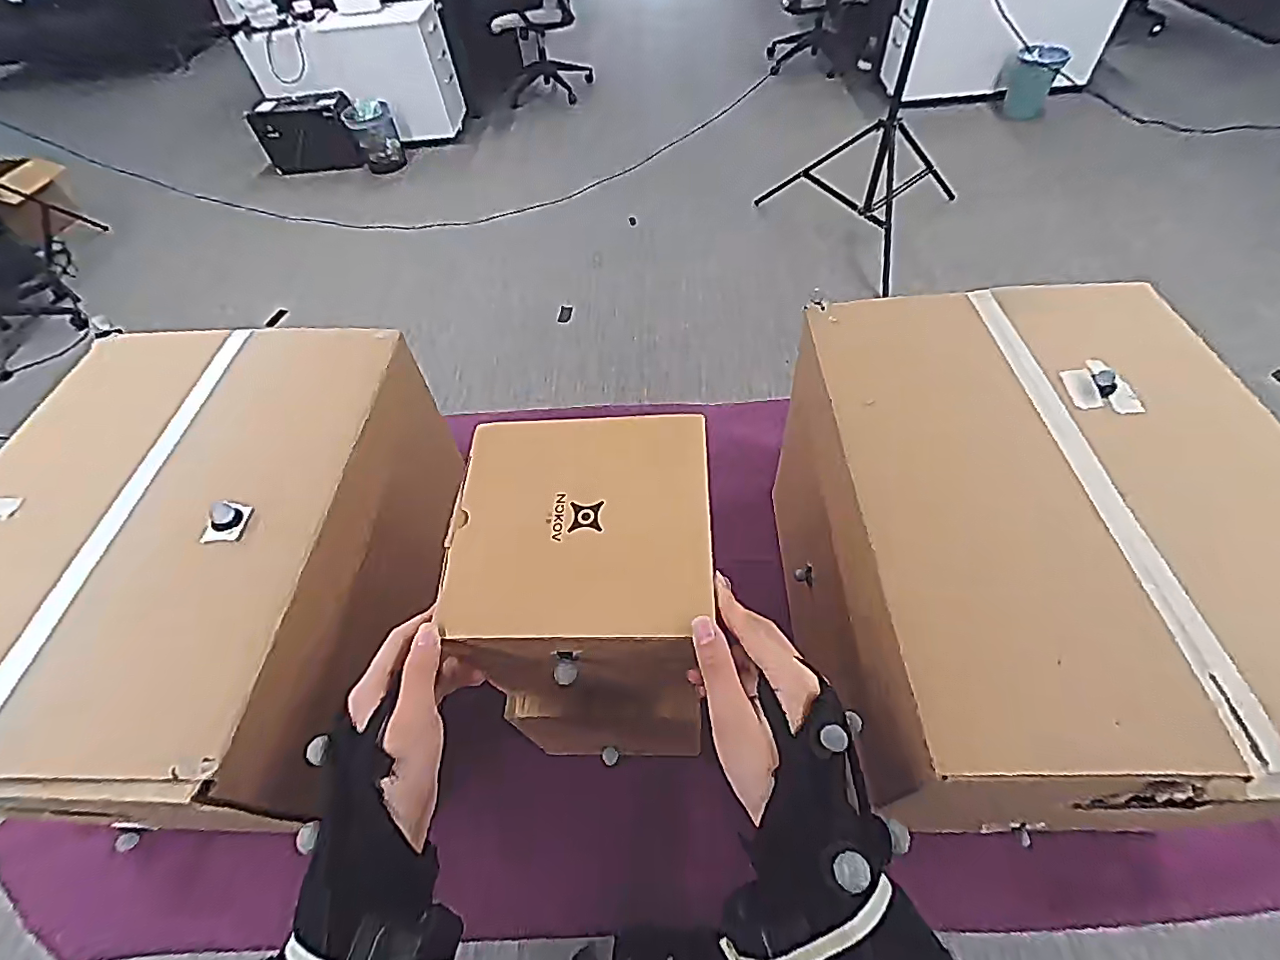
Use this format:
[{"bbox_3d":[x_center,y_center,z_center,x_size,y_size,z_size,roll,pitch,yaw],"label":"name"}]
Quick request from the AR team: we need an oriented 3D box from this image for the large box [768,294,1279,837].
[{"bbox_3d":[0.315,0.083,0.511,0.320,0.320,0.408,-3,52,3],"label":"large box"}]

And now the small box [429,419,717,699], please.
[{"bbox_3d":[-0.032,0.070,0.429,0.179,0.176,0.168,-3,57,7],"label":"small box"}]
